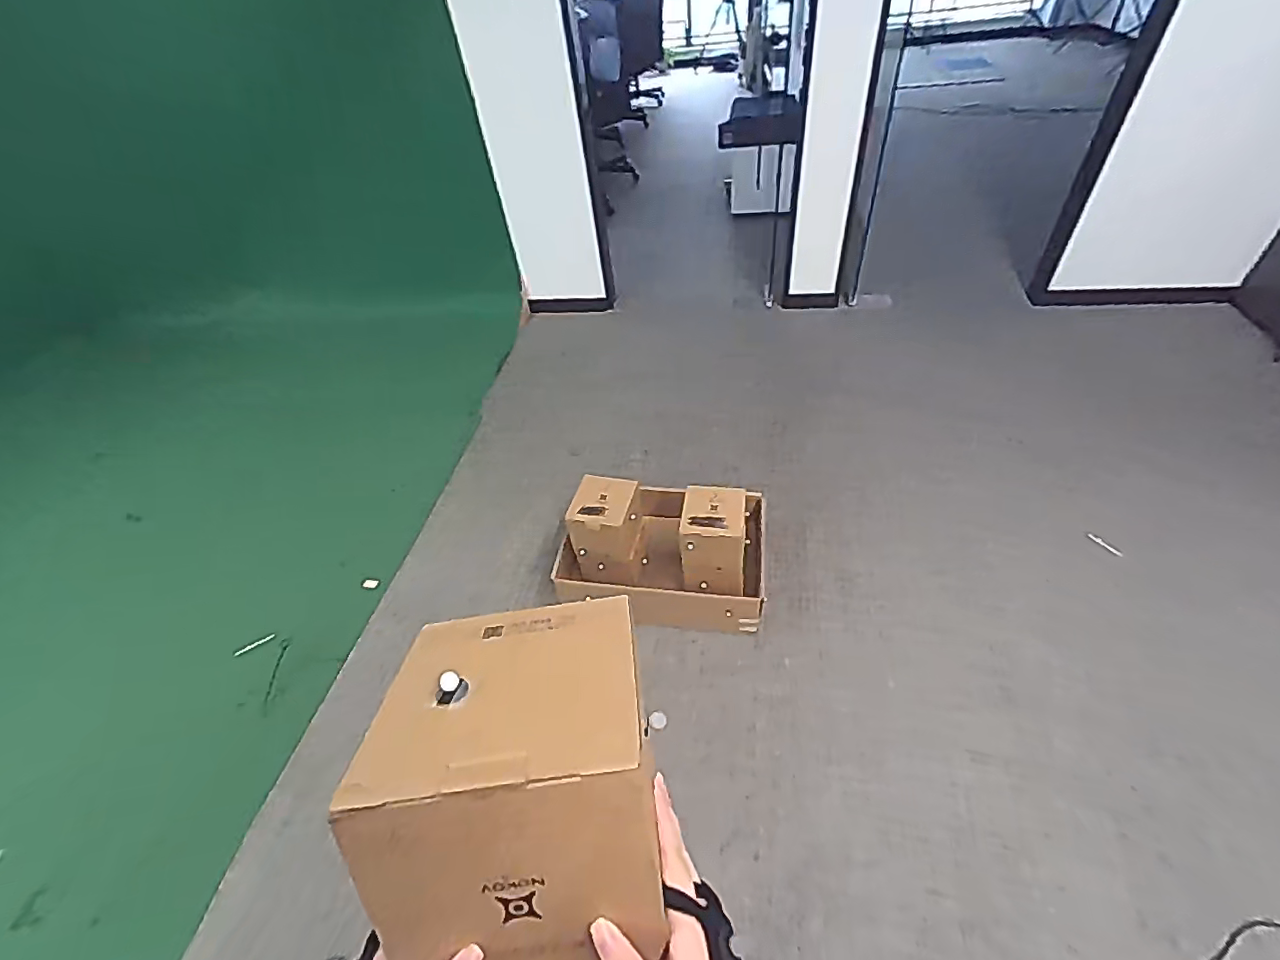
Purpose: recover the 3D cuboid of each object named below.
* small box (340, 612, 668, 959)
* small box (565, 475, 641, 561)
[{"bbox_3d":[-0.075,0.210,0.387,0.168,0.179,0.176,-6,20,-1],"label":"small box"},{"bbox_3d":[-0.099,0.112,1.575,0.168,0.176,0.179,8,47,14],"label":"small box"}]
